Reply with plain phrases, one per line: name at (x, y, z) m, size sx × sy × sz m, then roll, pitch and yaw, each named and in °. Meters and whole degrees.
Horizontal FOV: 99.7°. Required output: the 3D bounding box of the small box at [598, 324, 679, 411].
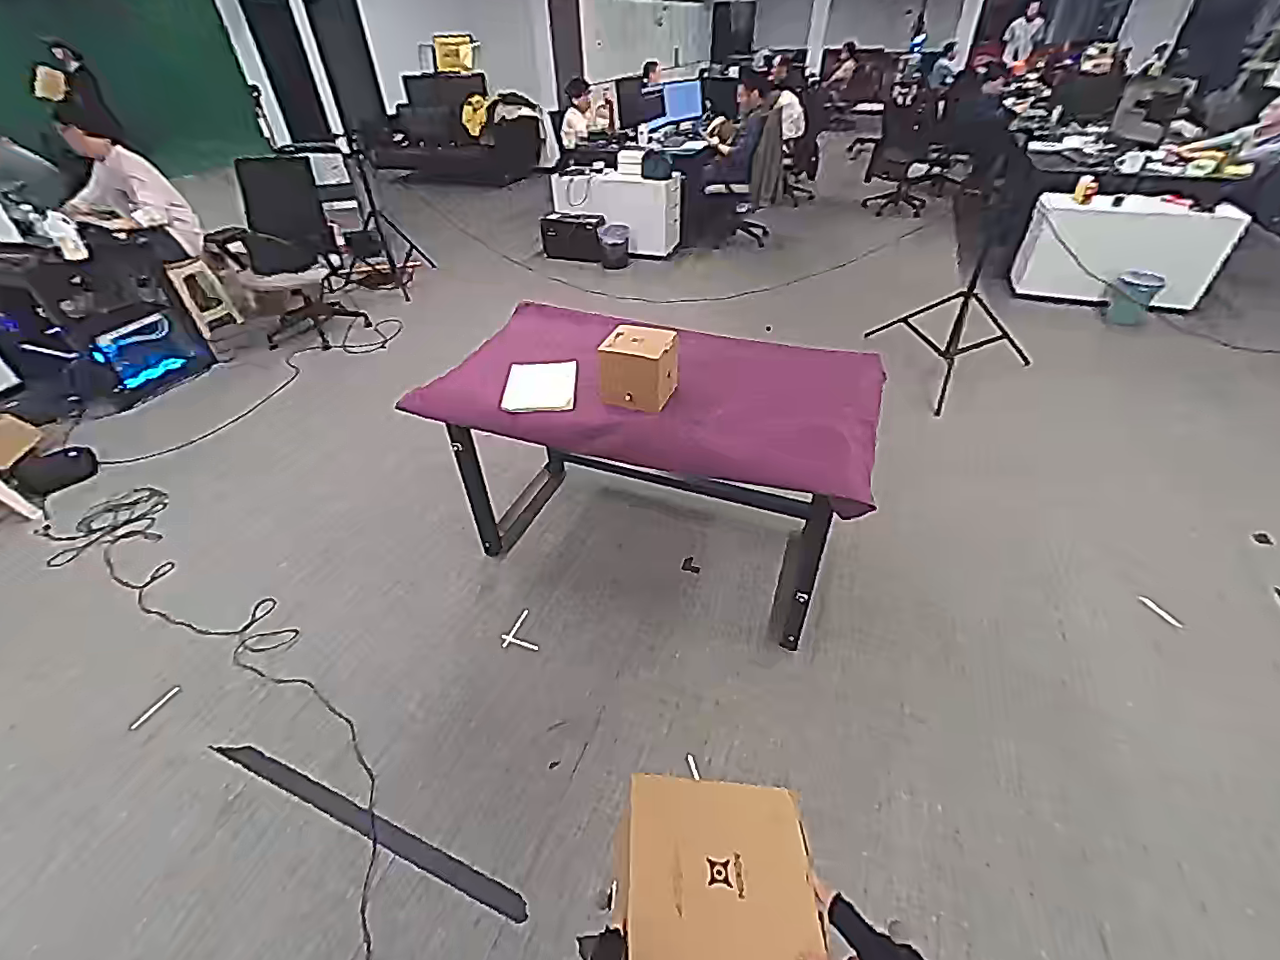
small box at (0.000, -0.312, 1.508) m, size 0.179 × 0.176 × 0.168 m, roll 13°, pitch 42°, yaw 17°

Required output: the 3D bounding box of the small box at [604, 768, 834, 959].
small box at (0.063, 0.416, 0.533) m, size 0.179 × 0.176 × 0.168 m, roll 7°, pitch 32°, yaw -4°
